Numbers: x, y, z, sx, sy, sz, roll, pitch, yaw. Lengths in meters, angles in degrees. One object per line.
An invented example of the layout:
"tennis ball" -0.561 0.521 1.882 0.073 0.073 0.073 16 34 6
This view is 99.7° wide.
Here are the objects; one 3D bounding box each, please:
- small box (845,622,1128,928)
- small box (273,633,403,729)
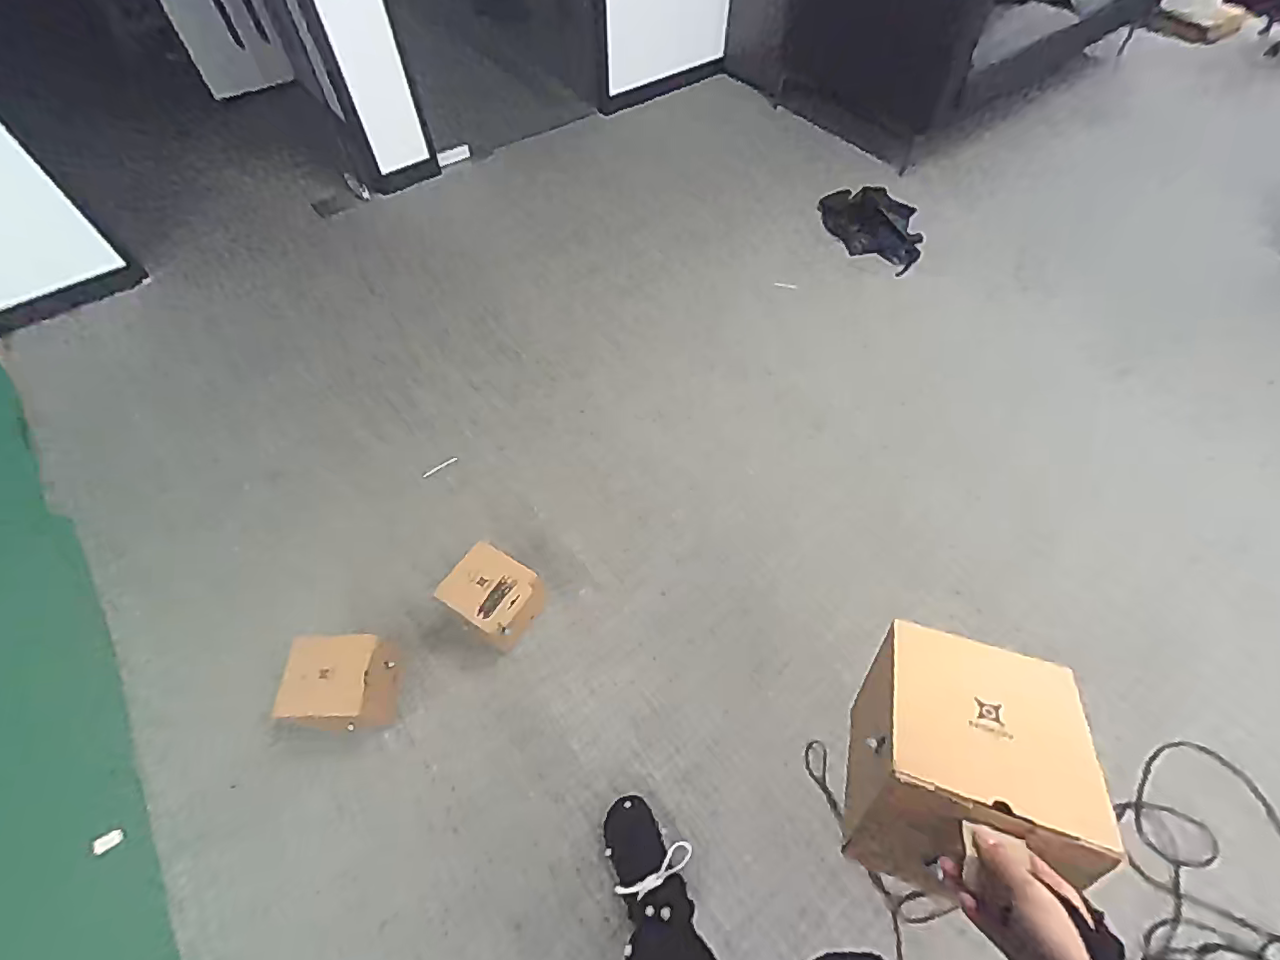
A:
"small box" 0.308 0.279 0.527 0.168 0.176 0.179 15 37 16
"small box" -0.643 0.441 1.181 0.179 0.176 0.168 -2 56 0
